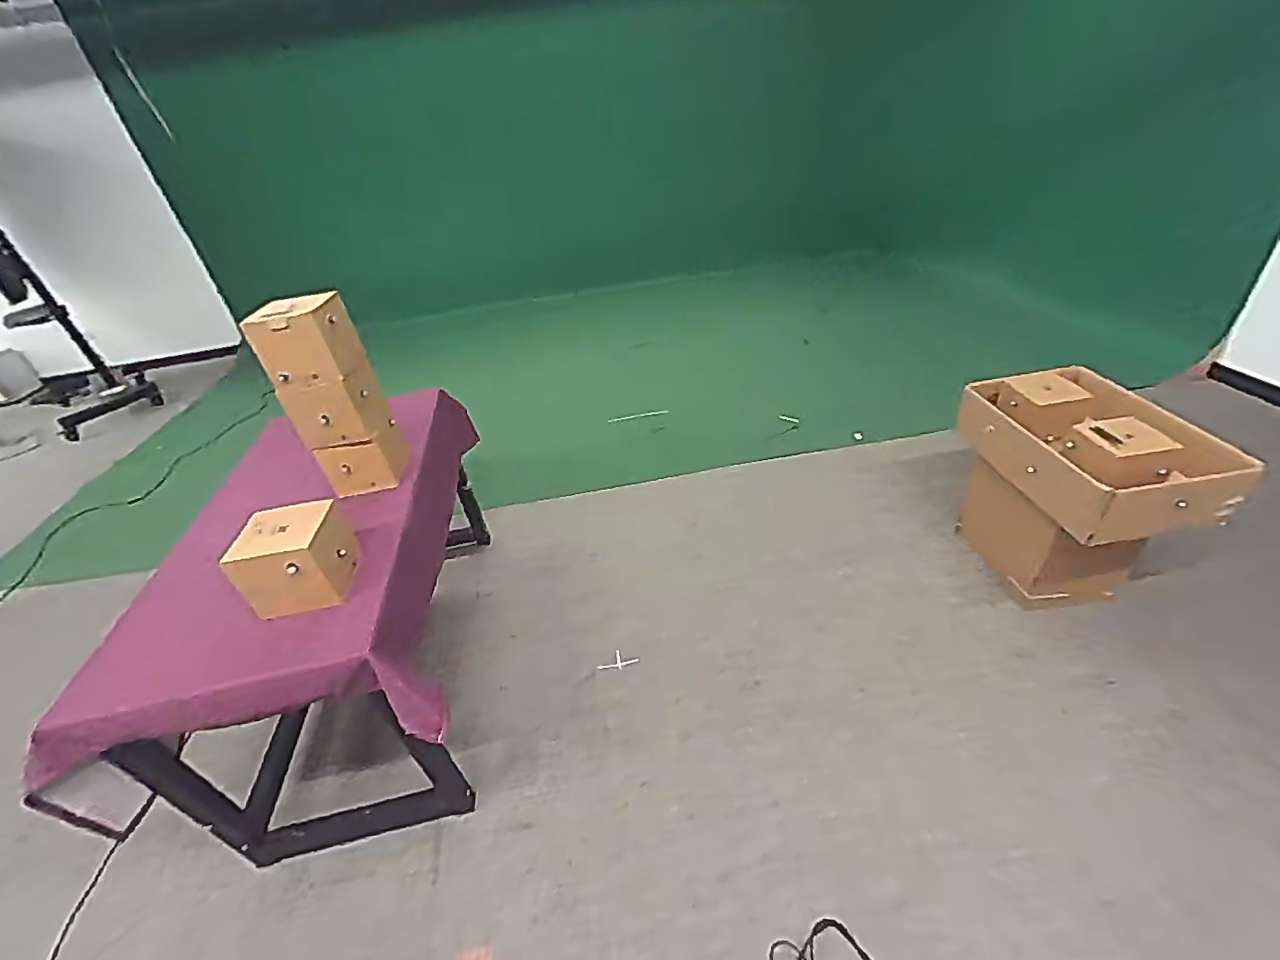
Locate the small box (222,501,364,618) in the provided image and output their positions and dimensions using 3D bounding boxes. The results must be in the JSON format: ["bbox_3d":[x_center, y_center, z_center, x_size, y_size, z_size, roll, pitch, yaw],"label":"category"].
[{"bbox_3d":[-0.730,0.172,1.165,0.179,0.176,0.168,-11,35,-2],"label":"small box"}]

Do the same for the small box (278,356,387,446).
[{"bbox_3d":[-0.789,-0.200,1.412,0.168,0.176,0.179,-9,36,0],"label":"small box"}]

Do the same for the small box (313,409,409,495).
[{"bbox_3d":[-0.768,-0.073,1.514,0.168,0.176,0.179,-12,35,-3],"label":"small box"}]

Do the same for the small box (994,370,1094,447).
[{"bbox_3d":[1.266,-0.226,1.711,0.168,0.176,0.179,-9,37,1],"label":"small box"}]

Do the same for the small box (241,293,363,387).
[{"bbox_3d":[-0.811,-0.337,1.323,0.168,0.176,0.179,-10,34,0],"label":"small box"}]
